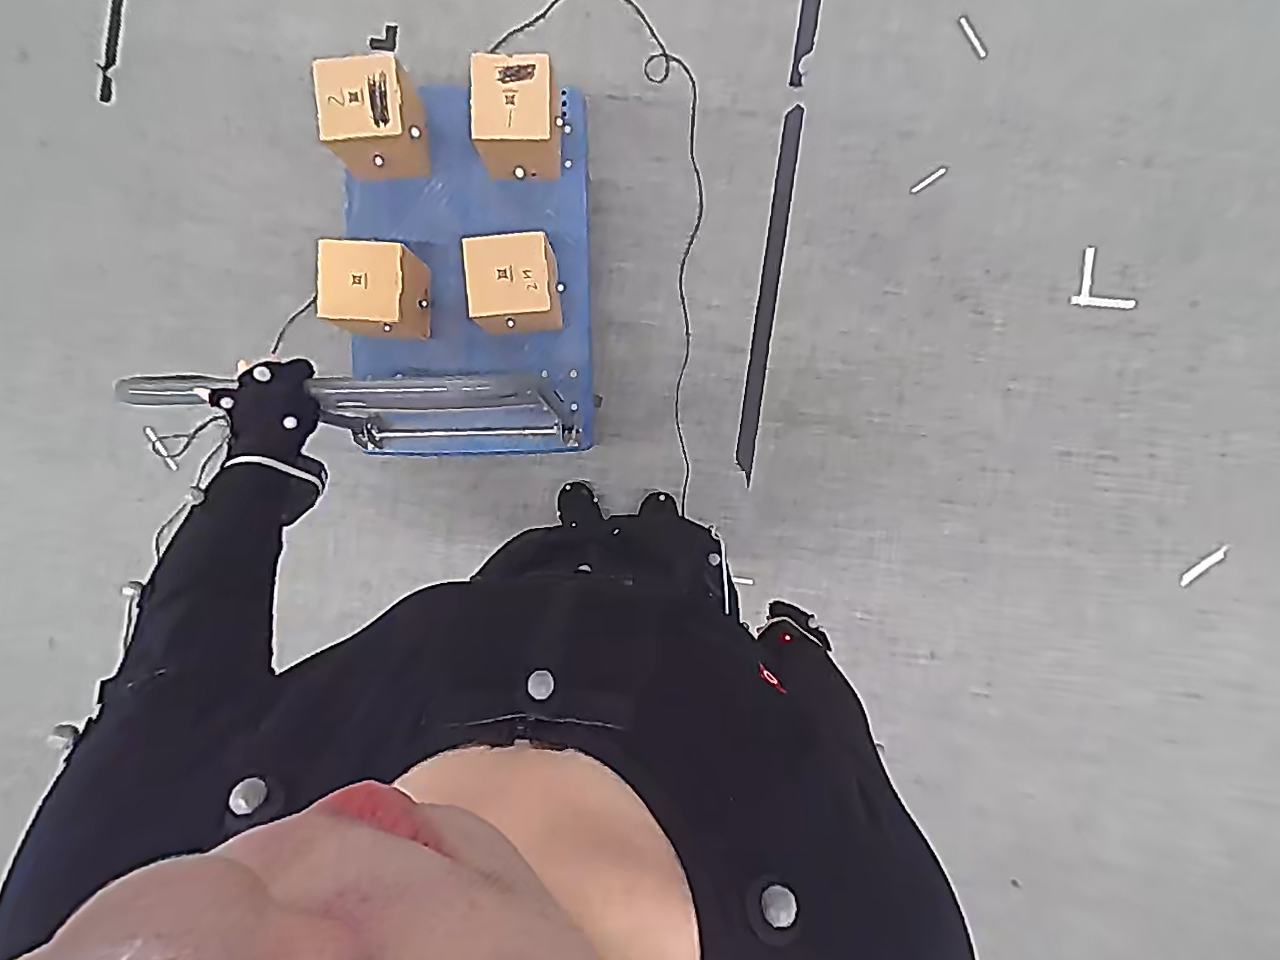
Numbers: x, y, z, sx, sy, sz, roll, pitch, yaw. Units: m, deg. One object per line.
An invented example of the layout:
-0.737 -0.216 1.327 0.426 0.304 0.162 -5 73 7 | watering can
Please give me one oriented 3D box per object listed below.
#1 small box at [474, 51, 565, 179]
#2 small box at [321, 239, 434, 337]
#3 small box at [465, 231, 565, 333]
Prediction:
-0.261 -0.798 1.195 0.168 0.176 0.179 1 93 0 | small box
-0.581 -0.422 1.213 0.179 0.176 0.168 2 92 -1 | small box
-0.272 -0.434 1.210 0.179 0.176 0.168 -5 92 1 | small box
